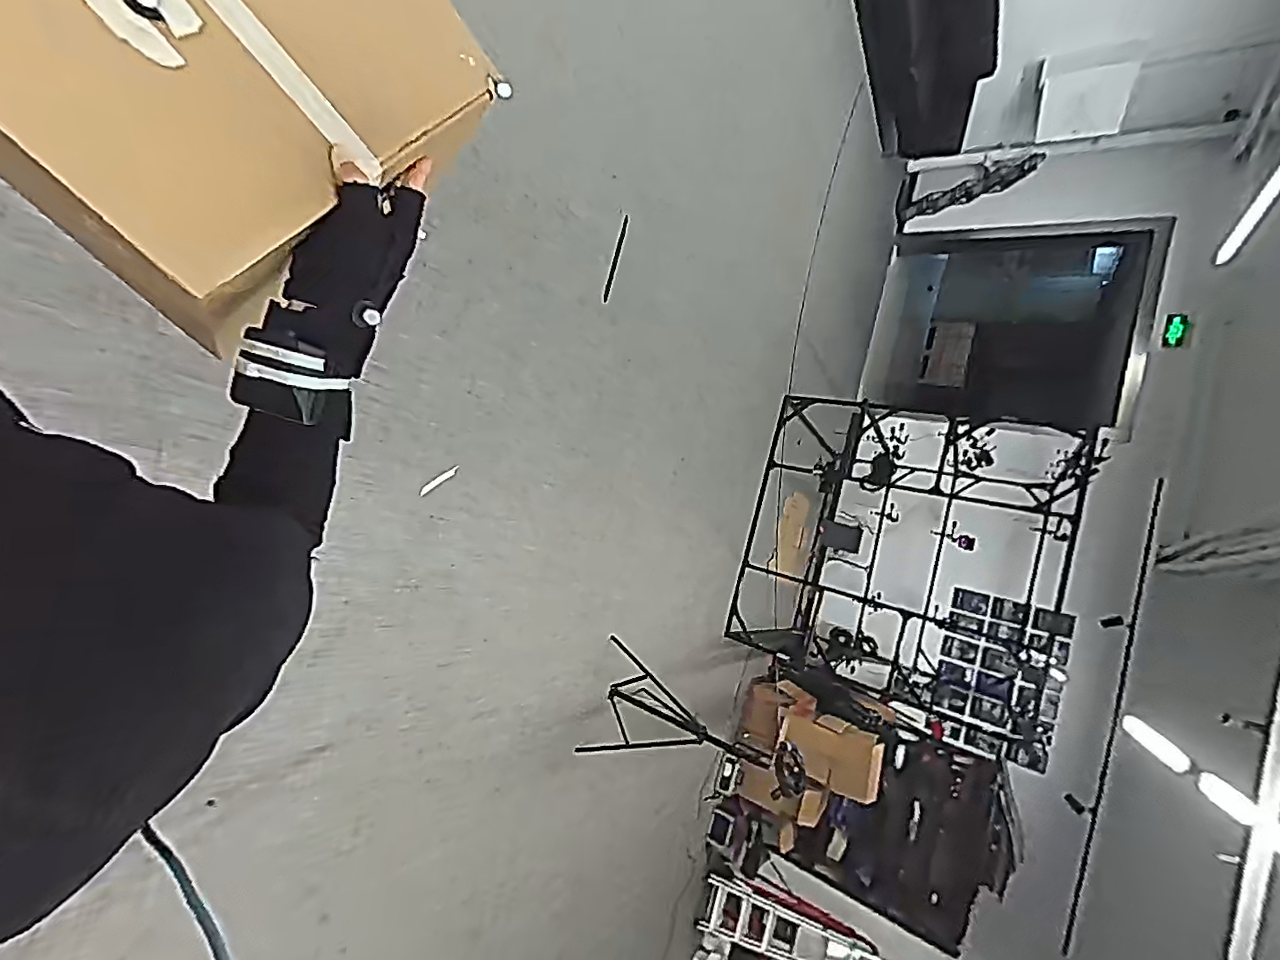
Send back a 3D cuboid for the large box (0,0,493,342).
[{"bbox_3d":[-0.419,-0.388,0.460,0.320,0.320,0.408,-52,120,-21],"label":"large box"}]
